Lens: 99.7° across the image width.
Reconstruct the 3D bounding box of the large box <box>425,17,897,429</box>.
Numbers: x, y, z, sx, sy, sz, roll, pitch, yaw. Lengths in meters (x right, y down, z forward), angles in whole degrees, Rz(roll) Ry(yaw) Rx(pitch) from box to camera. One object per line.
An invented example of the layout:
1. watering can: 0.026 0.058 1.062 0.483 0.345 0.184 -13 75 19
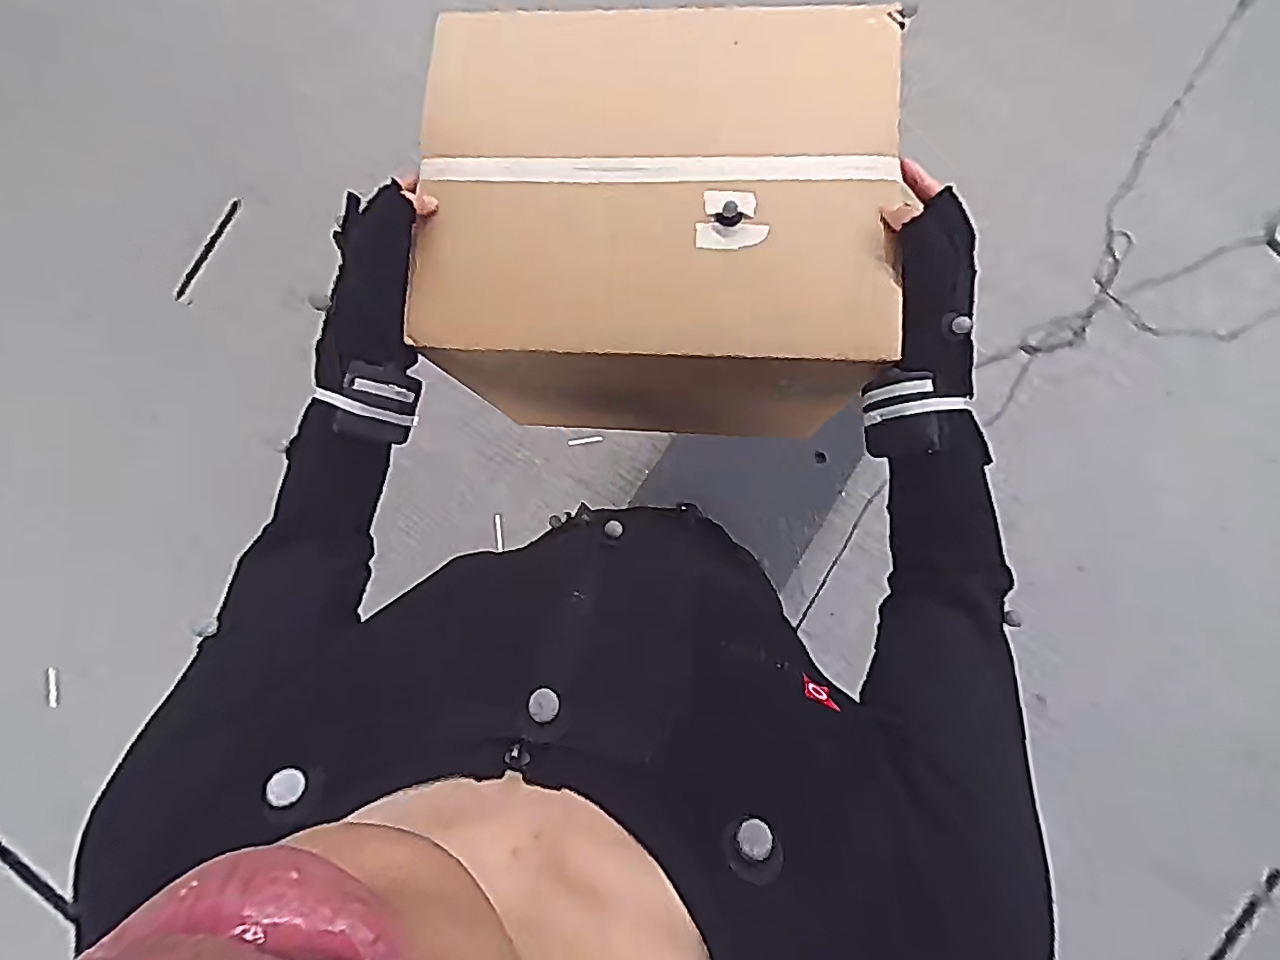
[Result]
1. large box: 0.027 -0.245 0.617 0.408 0.320 0.320 3 84 4
